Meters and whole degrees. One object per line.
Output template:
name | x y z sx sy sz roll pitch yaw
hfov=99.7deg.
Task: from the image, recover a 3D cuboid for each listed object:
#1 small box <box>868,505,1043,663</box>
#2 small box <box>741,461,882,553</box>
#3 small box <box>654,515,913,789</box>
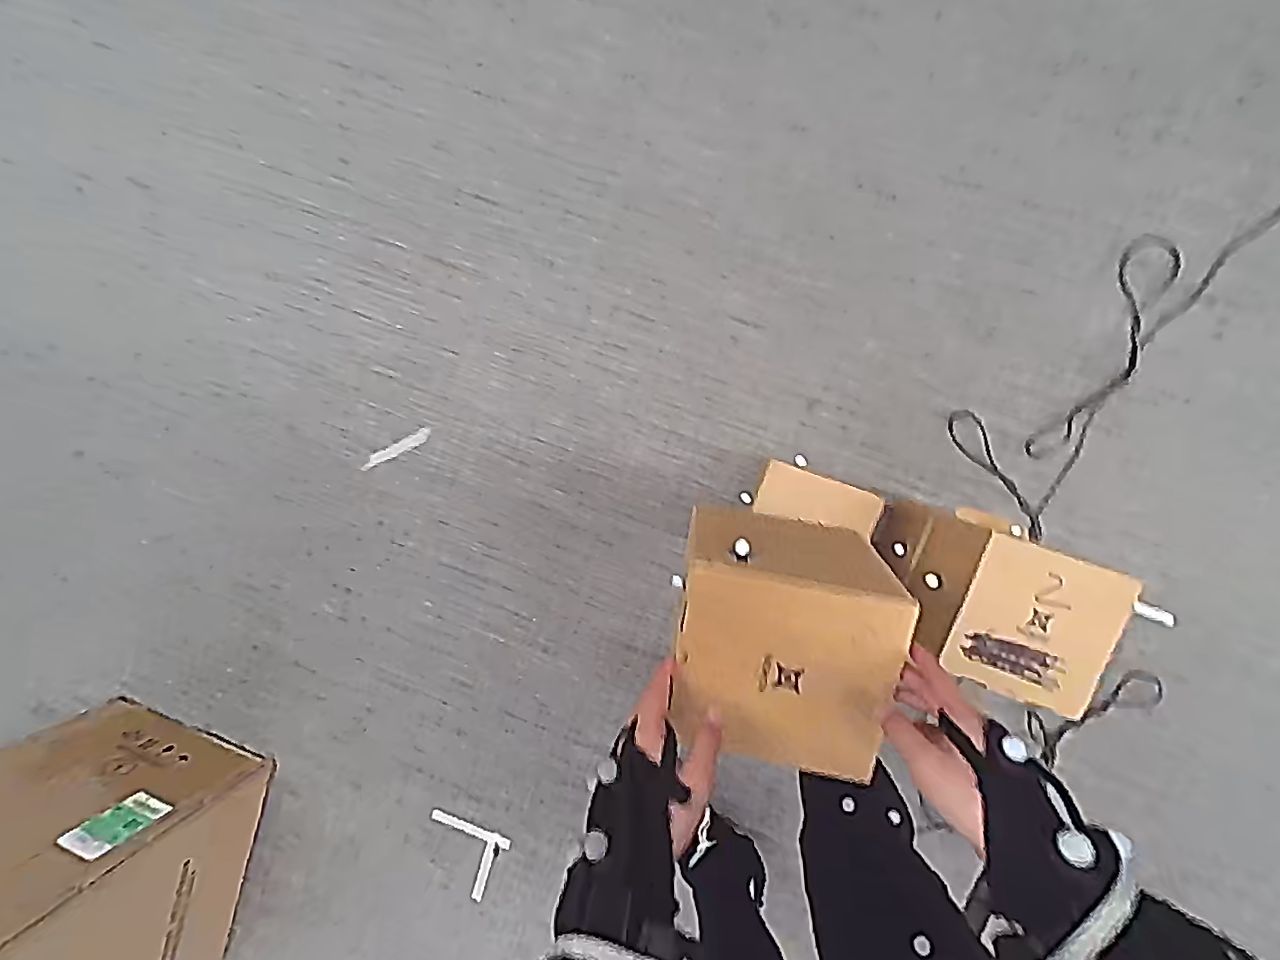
small box | 0.475 0.150 0.855 0.168 0.176 0.179 19 98 7
small box | 0.258 0.074 0.882 0.179 0.176 0.168 21 97 8
small box | 0.117 0.142 0.502 0.179 0.176 0.168 9 105 6
